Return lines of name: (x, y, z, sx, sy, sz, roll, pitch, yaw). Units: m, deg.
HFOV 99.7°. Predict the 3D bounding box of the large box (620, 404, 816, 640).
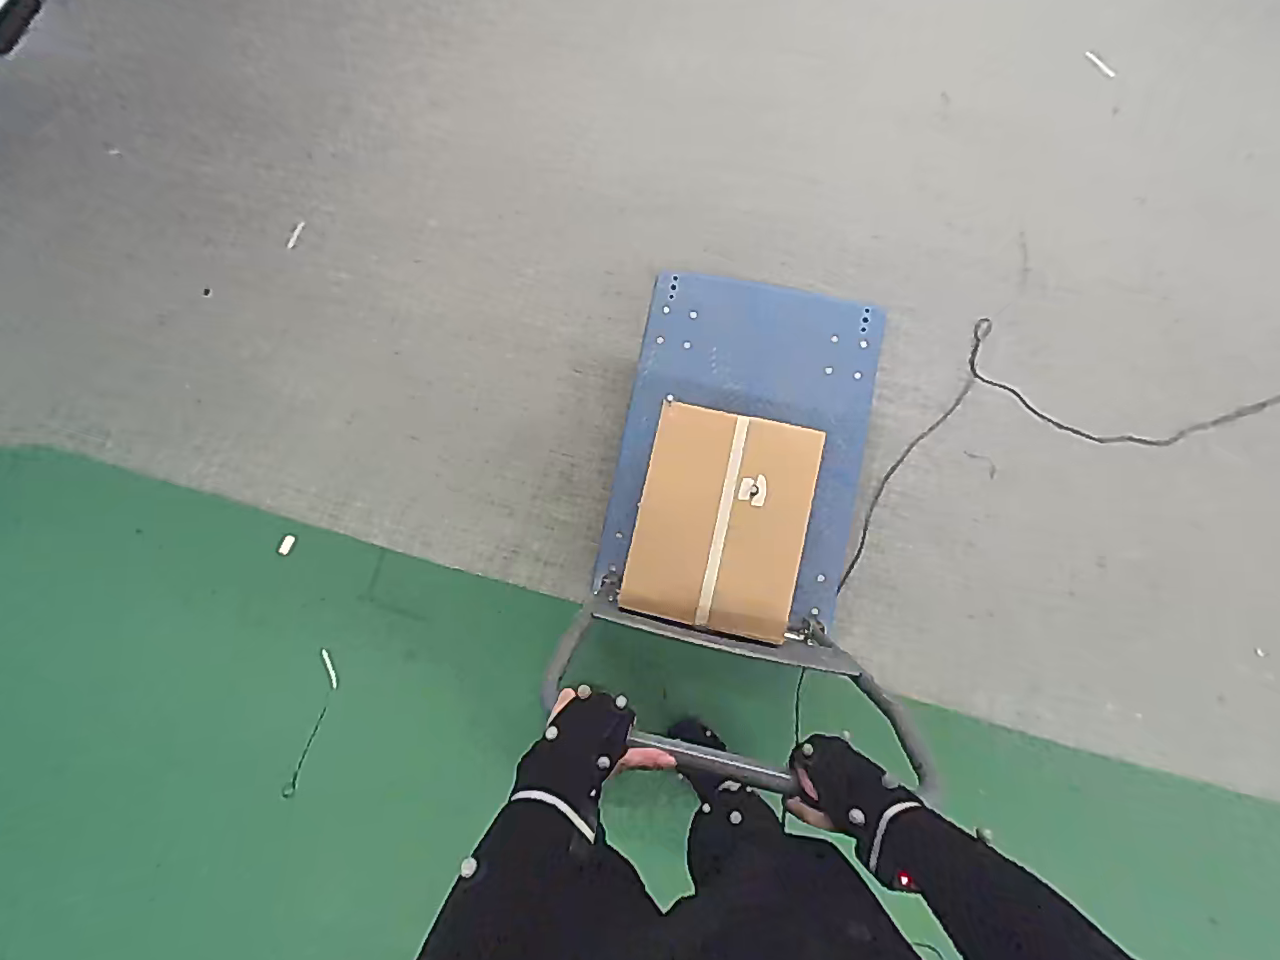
large box: (0.159, 0.092, 1.168, 0.320, 0.320, 0.408, 12, 84, 4)
